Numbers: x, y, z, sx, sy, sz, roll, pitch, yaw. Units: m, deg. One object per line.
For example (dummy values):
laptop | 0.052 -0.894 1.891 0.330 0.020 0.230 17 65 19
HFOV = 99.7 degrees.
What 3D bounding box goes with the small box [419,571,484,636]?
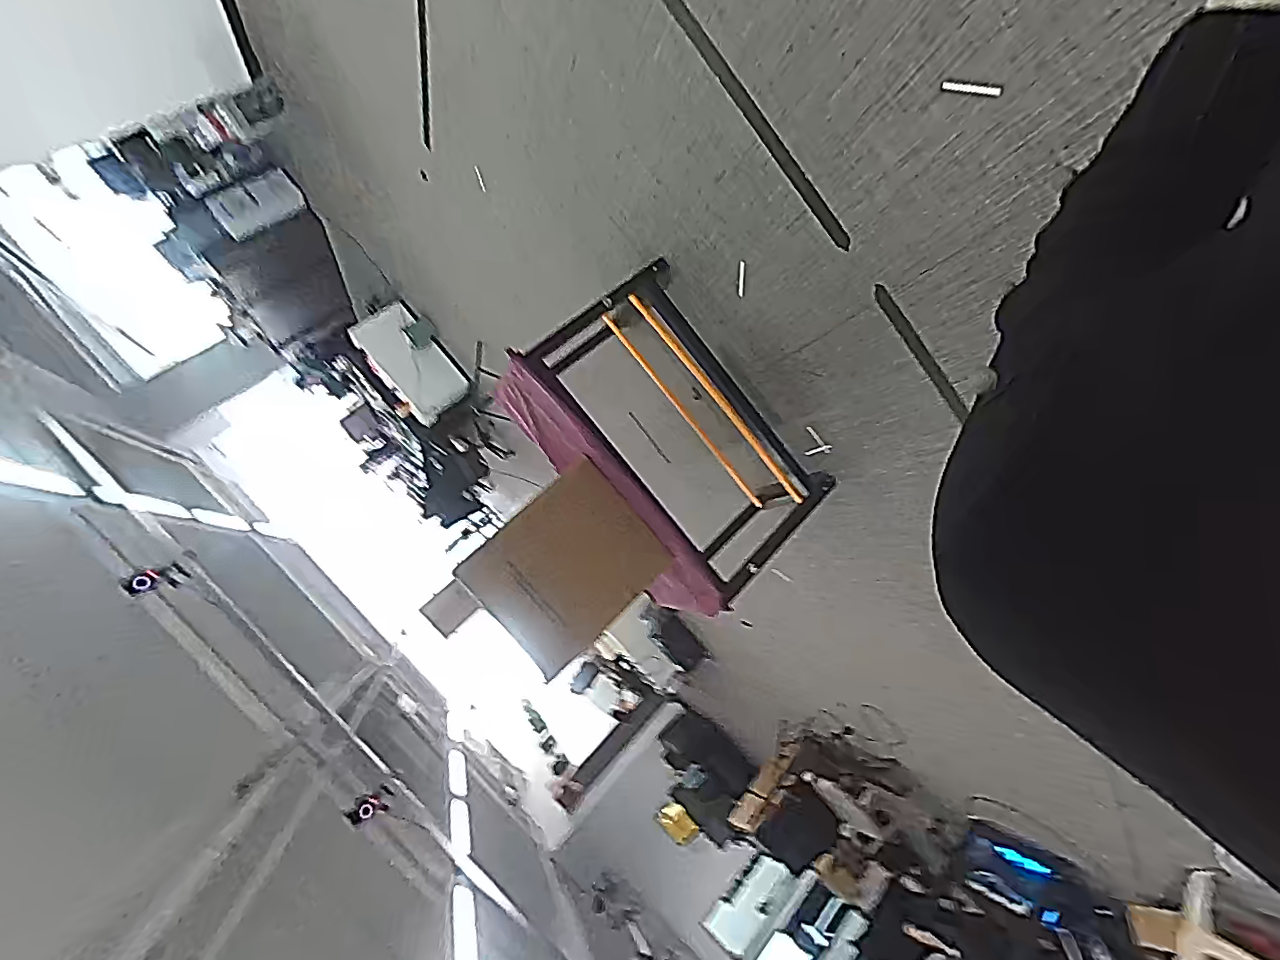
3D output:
small box | -0.706 0.459 2.034 0.168 0.176 0.179 50 159 -7
